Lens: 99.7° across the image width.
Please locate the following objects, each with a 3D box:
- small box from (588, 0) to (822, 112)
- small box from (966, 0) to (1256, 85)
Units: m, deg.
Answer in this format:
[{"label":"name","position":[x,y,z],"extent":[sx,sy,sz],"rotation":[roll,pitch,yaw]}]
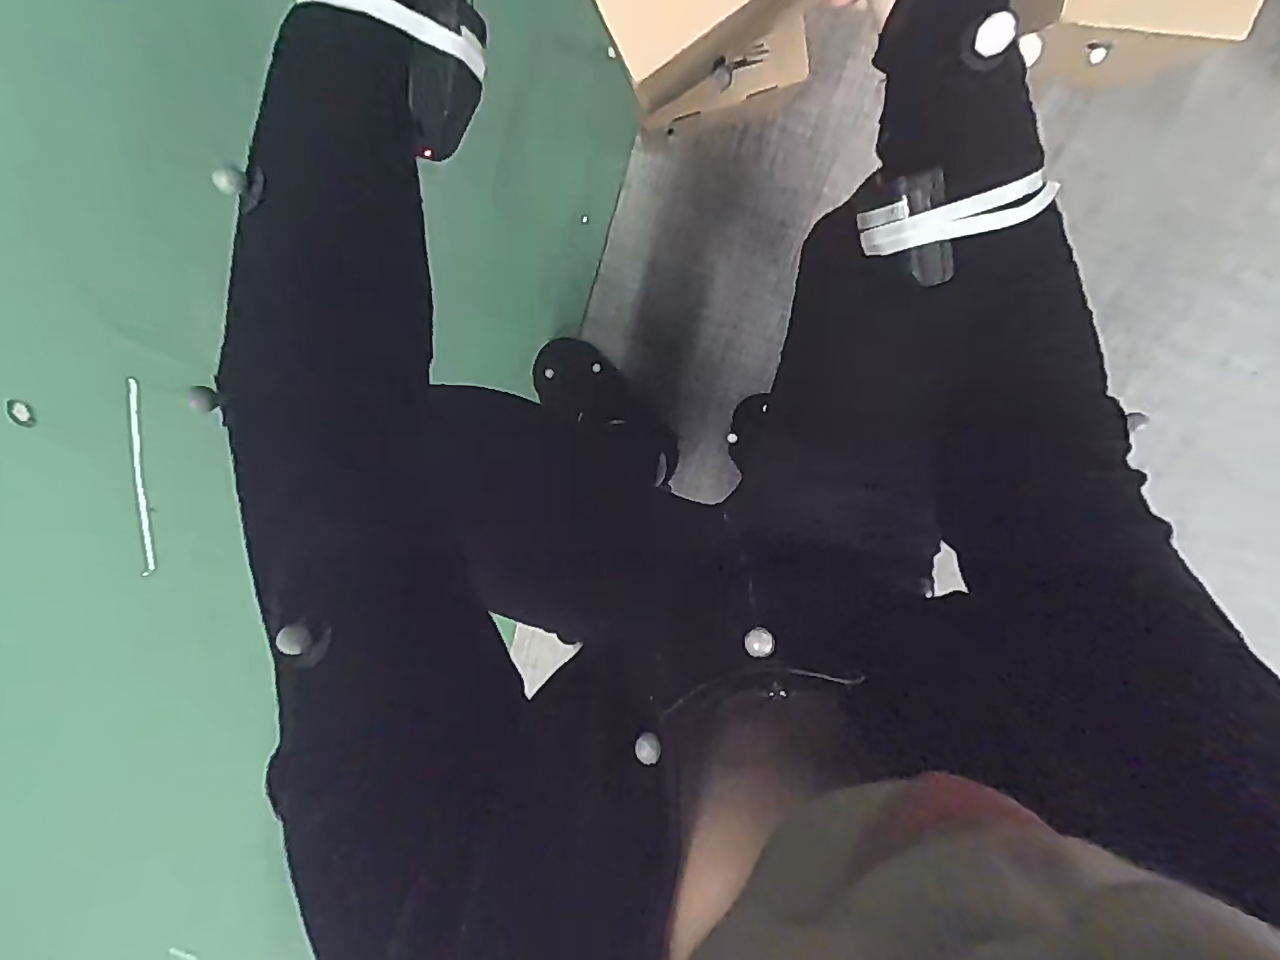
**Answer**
[{"label":"small box","position":[0.030,-0.379,0.346],"extent":[0.168,0.176,0.179],"rotation":[-25,113,15]},{"label":"small box","position":[0.463,-0.510,0.528],"extent":[0.179,0.176,0.168],"rotation":[5,114,-1]}]
